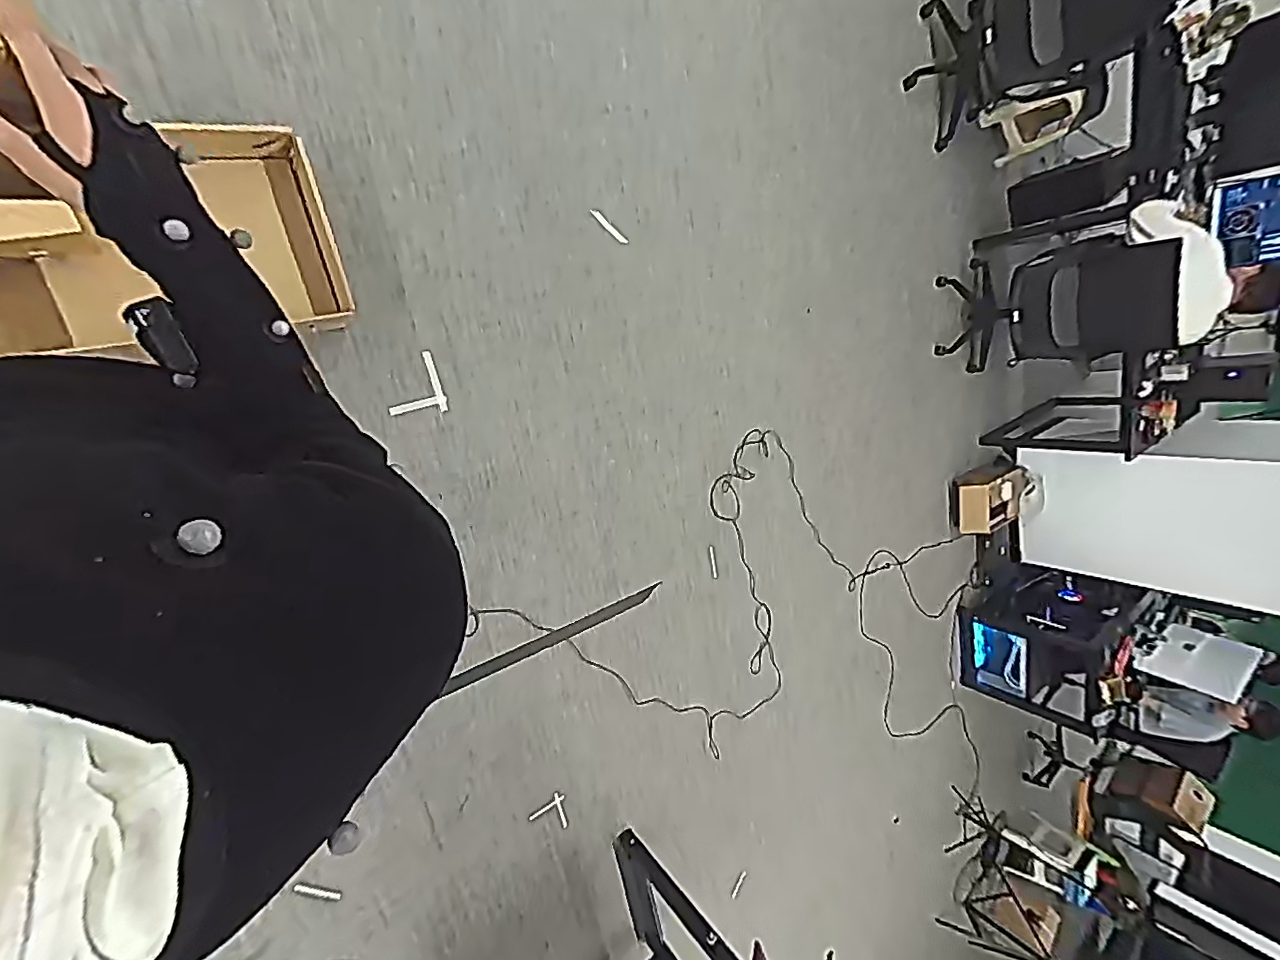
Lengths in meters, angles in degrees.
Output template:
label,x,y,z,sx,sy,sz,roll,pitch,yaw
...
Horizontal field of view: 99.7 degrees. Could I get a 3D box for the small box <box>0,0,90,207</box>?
label,x,y,z,sx,sy,sz,roll,pitch,yaw
small box,-0.549,-0.322,0.389,0.179,0.176,0.168,-15,87,-31
